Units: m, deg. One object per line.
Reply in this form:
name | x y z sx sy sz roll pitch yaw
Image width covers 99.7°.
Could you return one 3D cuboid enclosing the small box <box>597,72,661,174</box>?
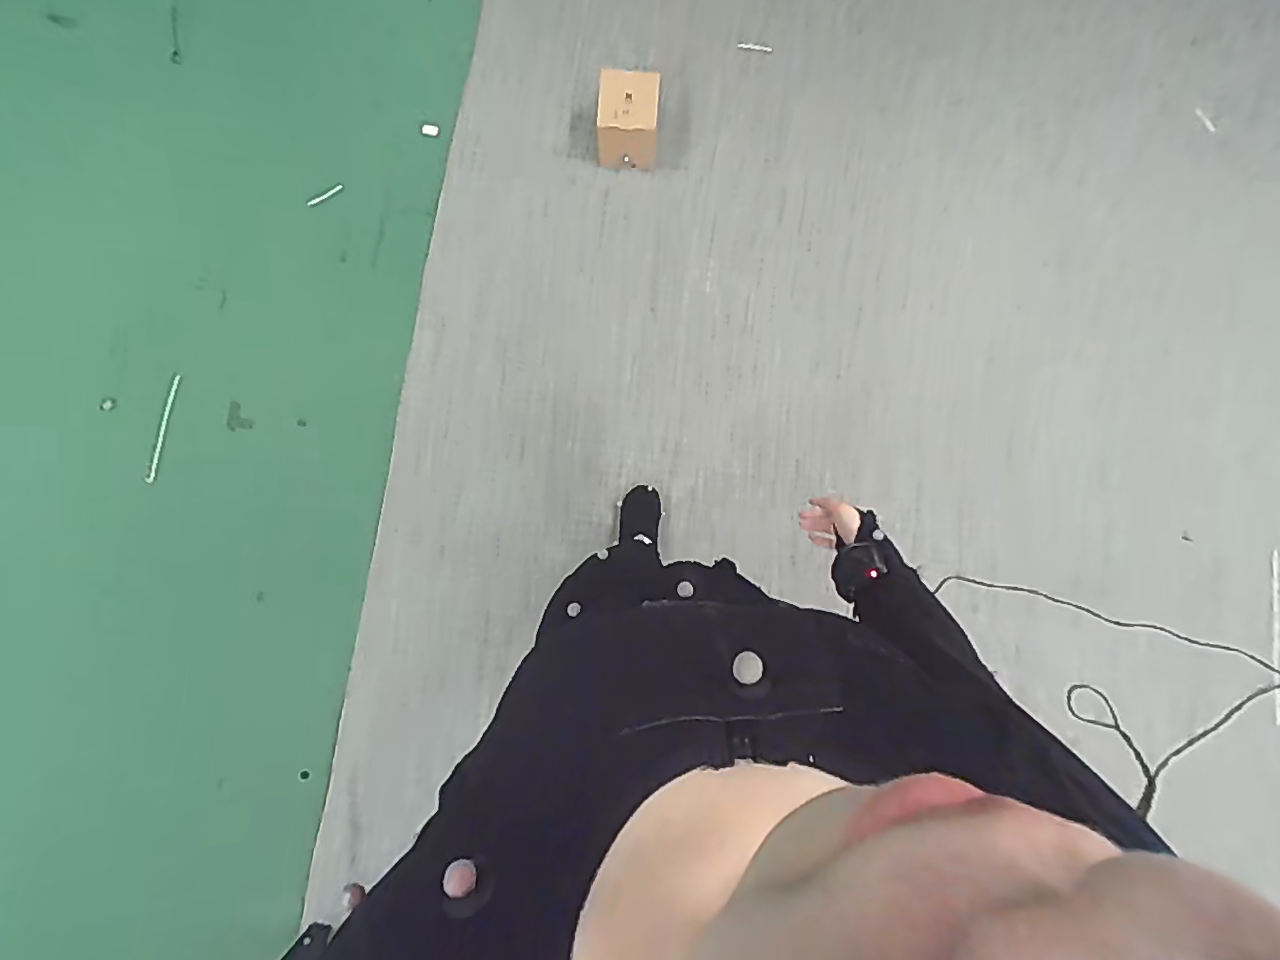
small box | -0.031 -1.028 1.563 0.168 0.176 0.179 4 83 0
